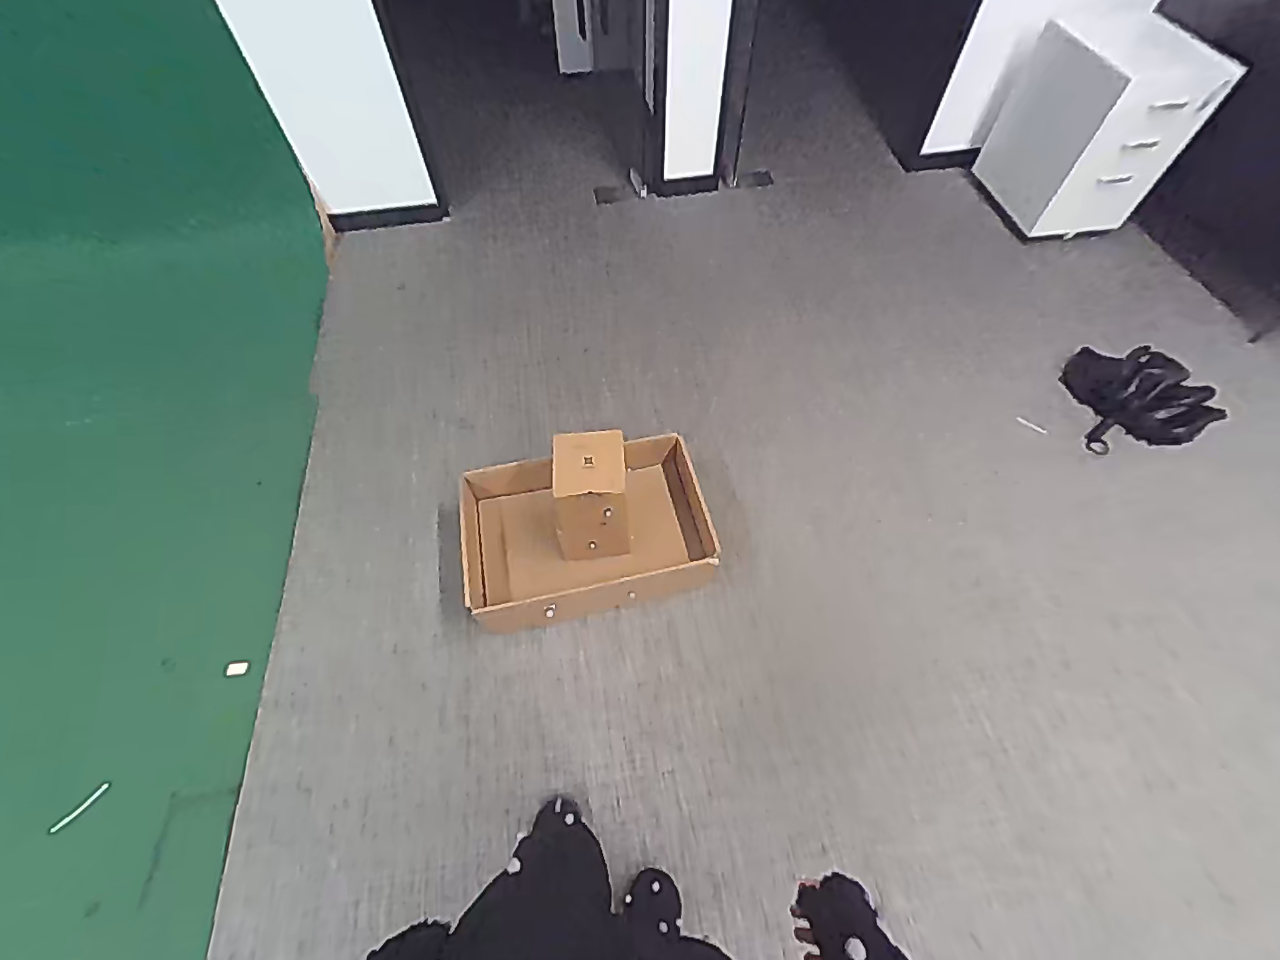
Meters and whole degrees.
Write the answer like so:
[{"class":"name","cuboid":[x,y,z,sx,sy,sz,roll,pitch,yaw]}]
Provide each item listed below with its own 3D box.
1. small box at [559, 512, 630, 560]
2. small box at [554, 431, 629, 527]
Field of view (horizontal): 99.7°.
[{"class":"small box","cuboid":[-0.119,0.103,1.456,0.179,0.176,0.168,-7,57,-1]},{"class":"small box","cuboid":[-0.114,0.003,1.308,0.168,0.176,0.179,-4,56,-3]}]
